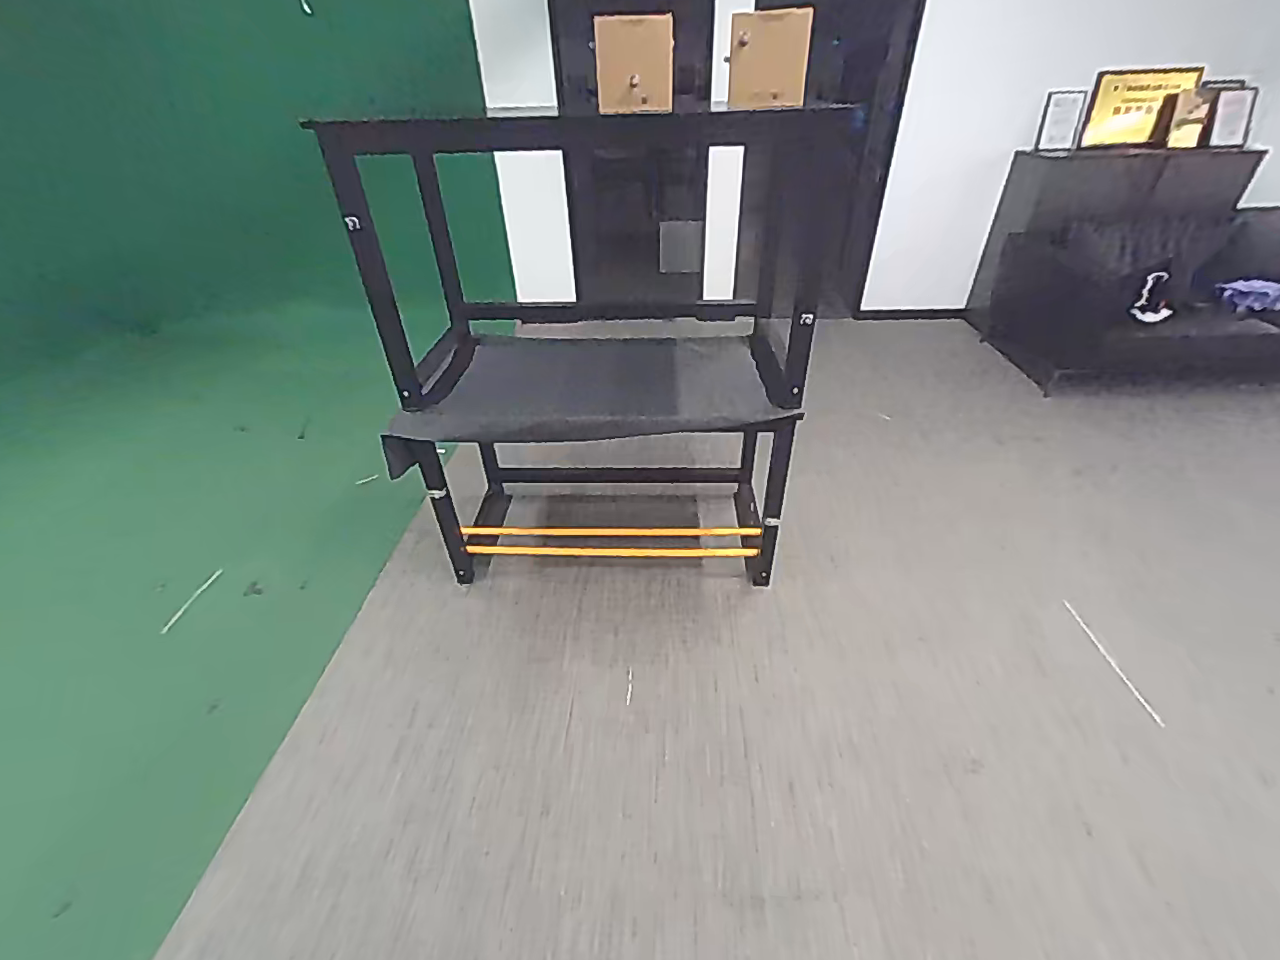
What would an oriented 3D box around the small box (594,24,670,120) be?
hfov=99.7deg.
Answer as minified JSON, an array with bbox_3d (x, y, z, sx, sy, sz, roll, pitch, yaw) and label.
[{"bbox_3d":[-0.019,-0.945,1.262,0.168,0.176,0.179,-3,36,-1],"label":"small box"}]
